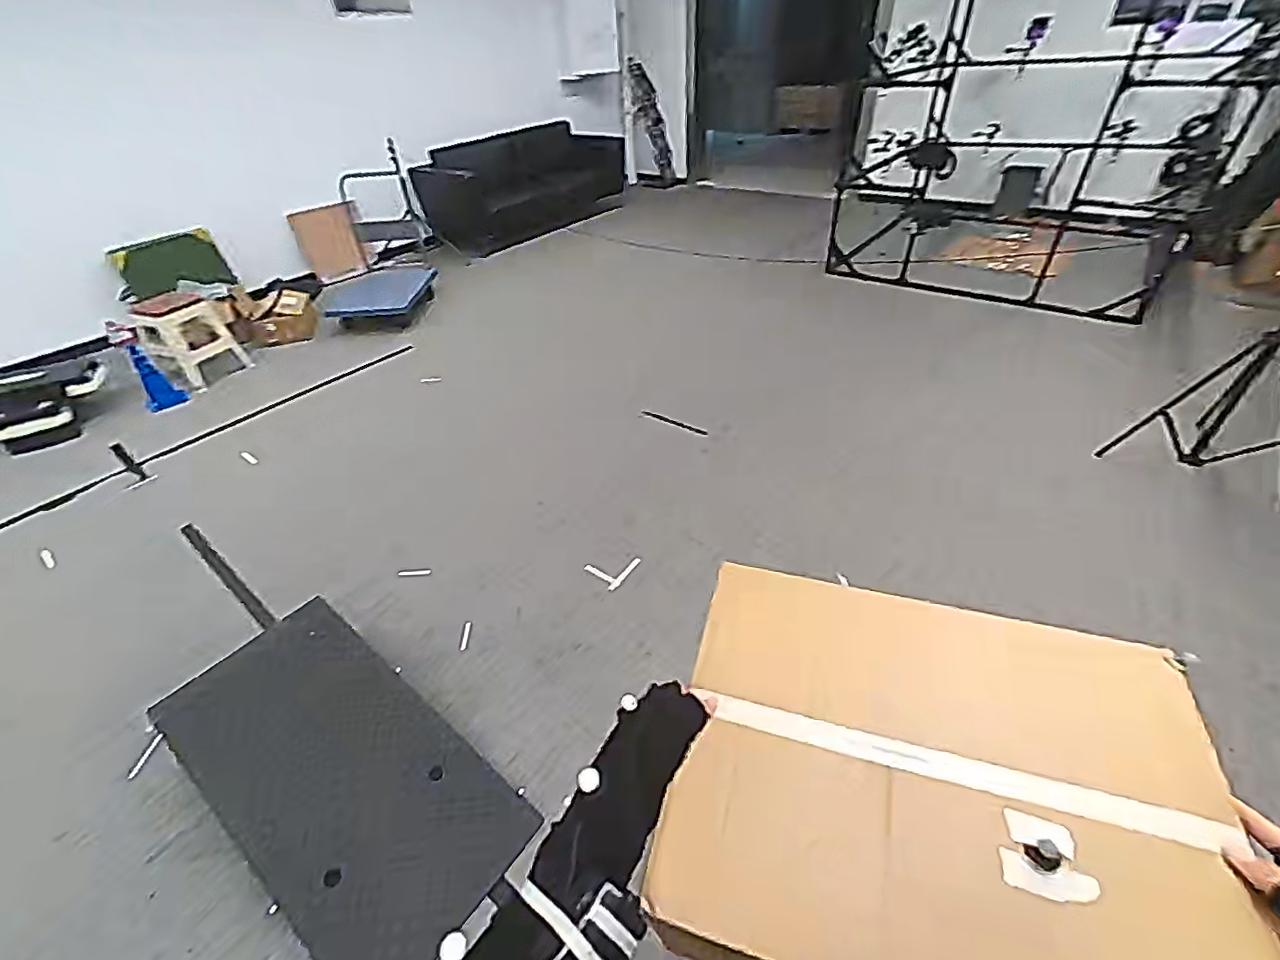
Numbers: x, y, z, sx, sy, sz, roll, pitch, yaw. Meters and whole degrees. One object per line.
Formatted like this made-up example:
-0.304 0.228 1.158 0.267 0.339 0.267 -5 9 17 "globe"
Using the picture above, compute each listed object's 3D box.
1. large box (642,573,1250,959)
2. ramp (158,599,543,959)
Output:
0.238 0.338 0.556 0.408 0.320 0.320 9 47 14 "large box"
-0.774 0.752 1.428 0.991 0.206 0.509 22 45 29 "ramp"
